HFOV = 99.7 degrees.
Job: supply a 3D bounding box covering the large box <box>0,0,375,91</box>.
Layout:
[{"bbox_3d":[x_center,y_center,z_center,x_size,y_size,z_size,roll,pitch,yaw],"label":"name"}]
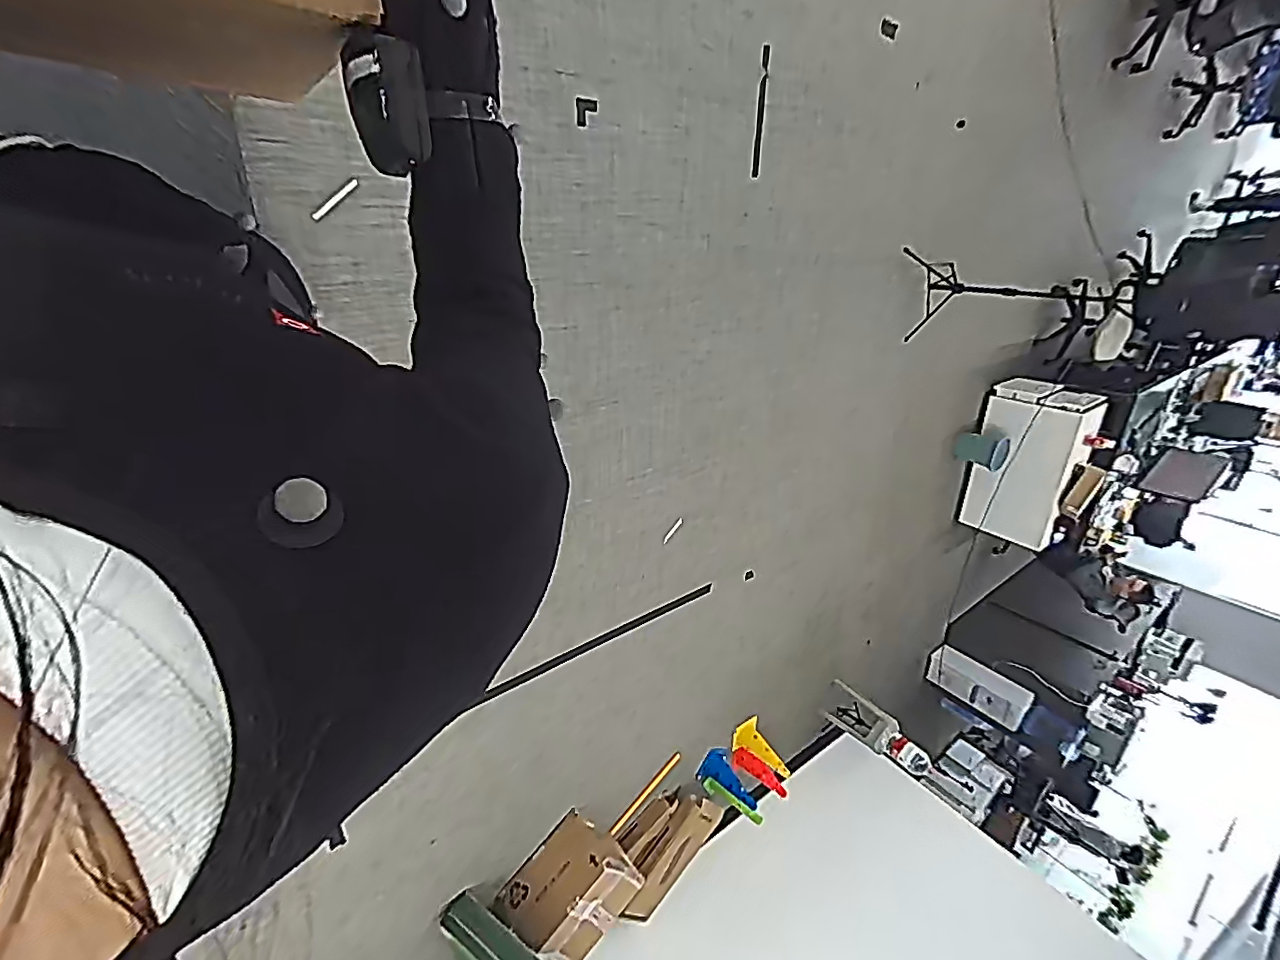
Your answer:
[{"bbox_3d":[-0.391,-0.415,0.240,0.408,0.320,0.320,-15,121,-36],"label":"large box"}]
